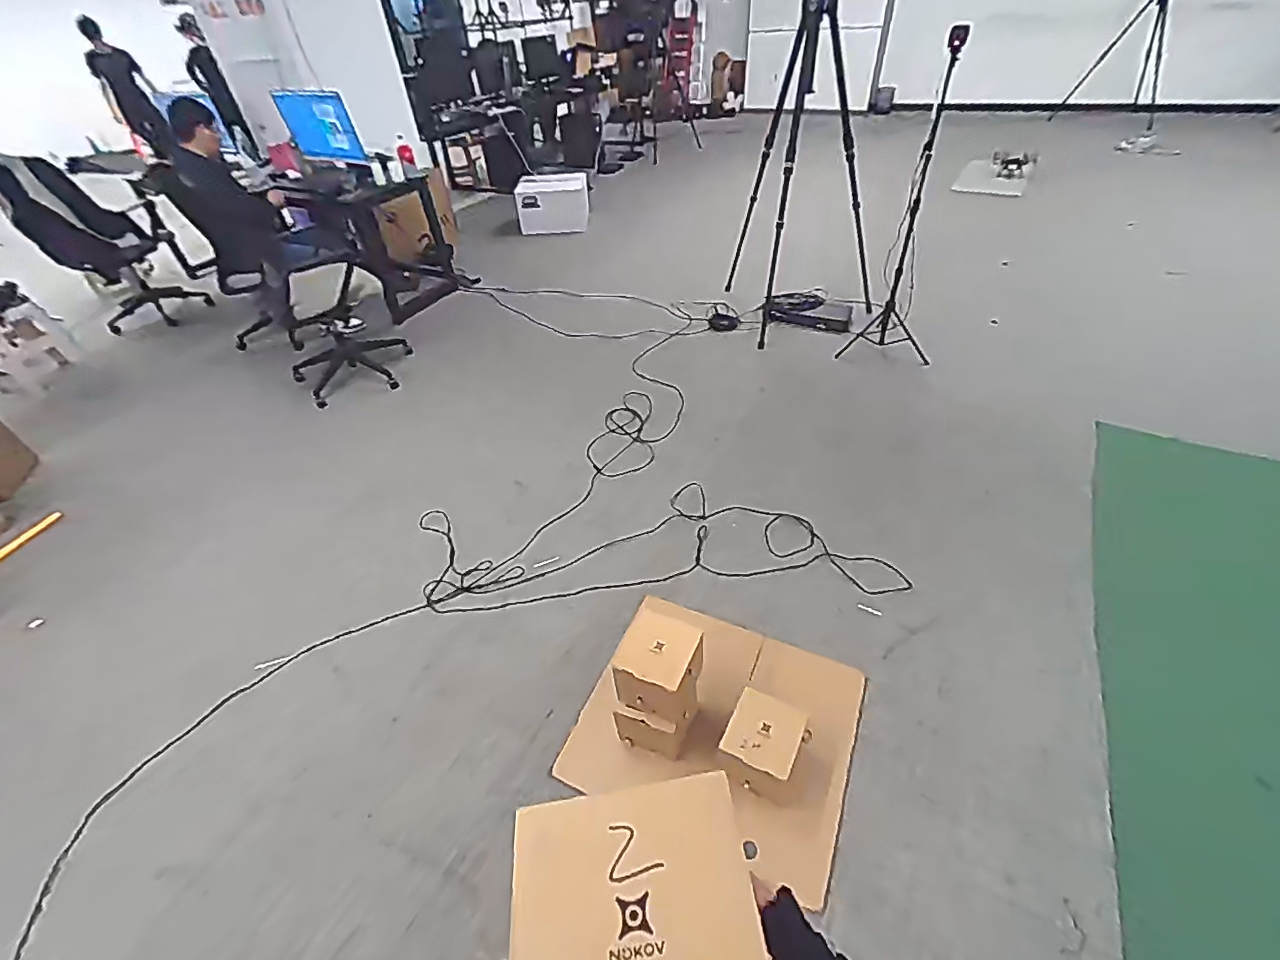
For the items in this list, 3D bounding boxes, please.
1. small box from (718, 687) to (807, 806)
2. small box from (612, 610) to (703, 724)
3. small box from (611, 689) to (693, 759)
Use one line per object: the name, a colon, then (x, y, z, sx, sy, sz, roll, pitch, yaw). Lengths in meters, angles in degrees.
small box: (0.299, 0.660, 1.340, 0.168, 0.176, 0.179, 18, 47, 25)
small box: (0.046, 0.463, 1.338, 0.168, 0.176, 0.179, 16, 46, 21)
small box: (0.041, 0.600, 1.429, 0.168, 0.176, 0.179, 13, 45, 20)
